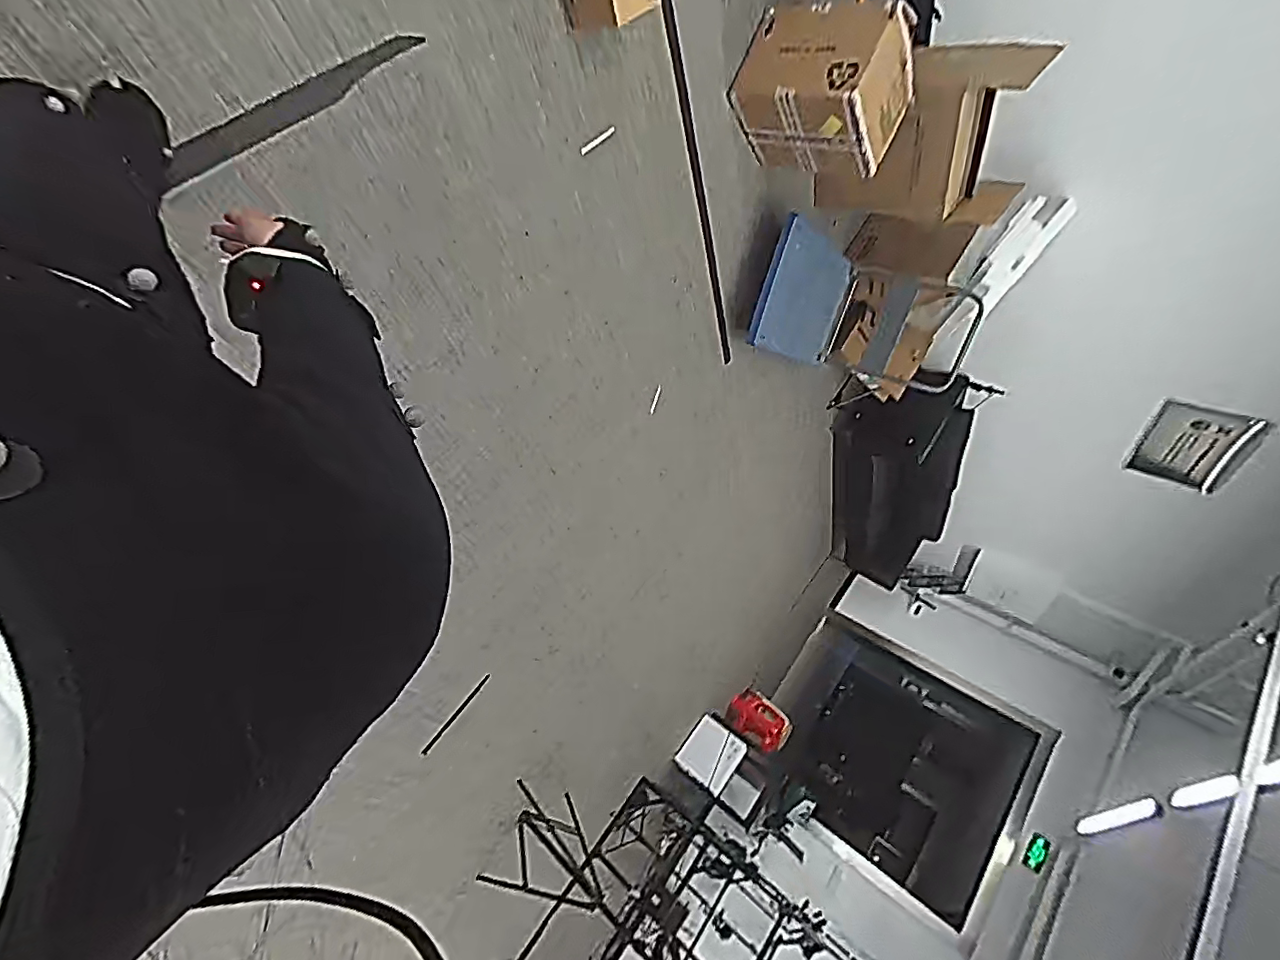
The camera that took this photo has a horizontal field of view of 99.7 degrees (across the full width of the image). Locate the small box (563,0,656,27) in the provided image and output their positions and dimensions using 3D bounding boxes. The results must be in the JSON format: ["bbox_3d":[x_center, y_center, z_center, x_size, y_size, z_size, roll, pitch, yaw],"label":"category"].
[{"bbox_3d":[-0.088,-1.270,1.357,0.179,0.176,0.168,-46,144,-22],"label":"small box"}]
